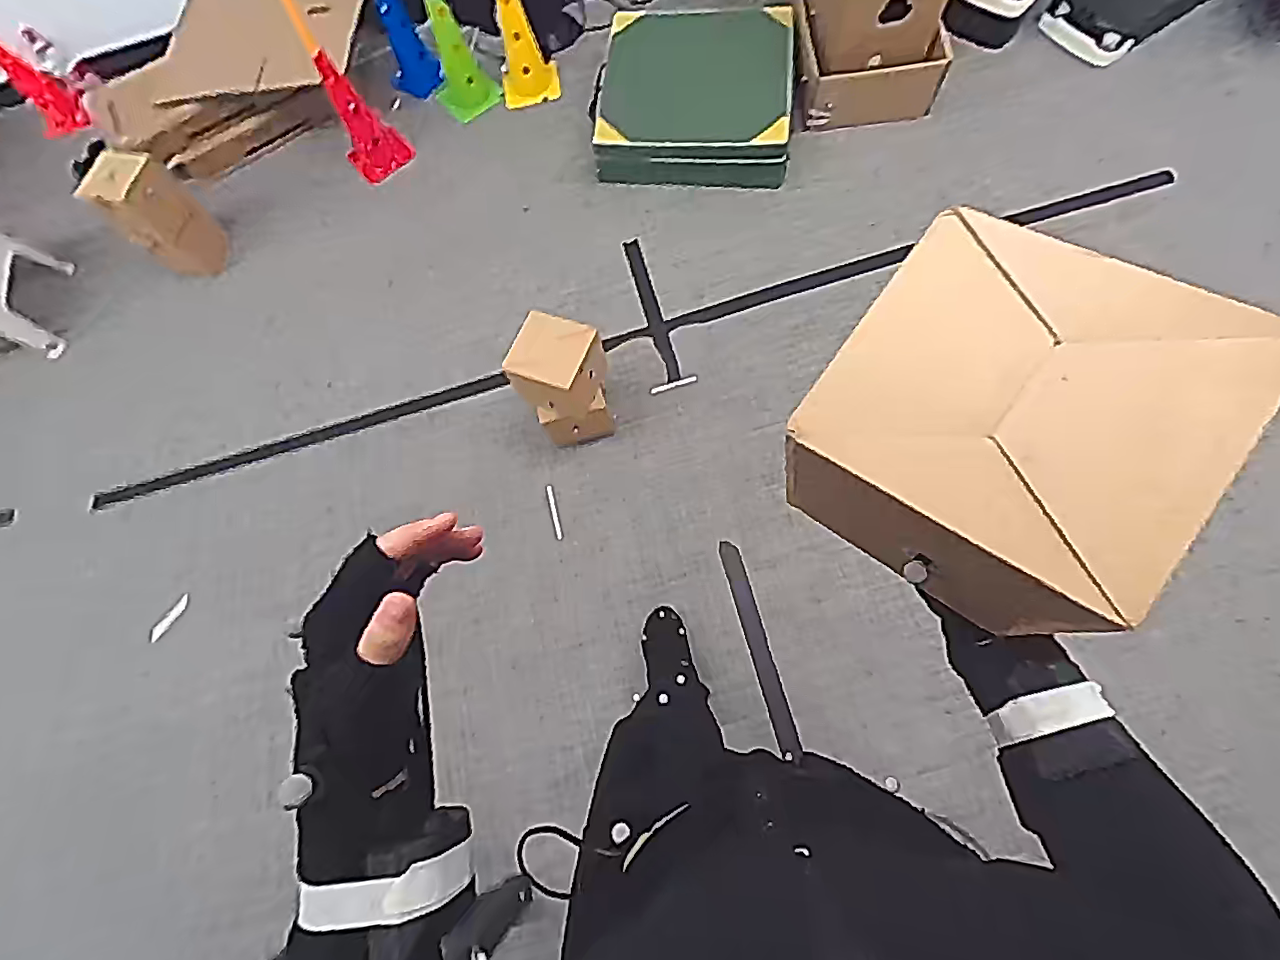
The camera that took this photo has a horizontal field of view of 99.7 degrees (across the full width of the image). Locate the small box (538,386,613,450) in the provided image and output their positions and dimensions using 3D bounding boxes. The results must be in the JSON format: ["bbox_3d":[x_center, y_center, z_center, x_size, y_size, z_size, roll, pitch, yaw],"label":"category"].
[{"bbox_3d":[-0.177,-0.200,1.475,0.179,0.176,0.168,-15,70,2],"label":"small box"}]

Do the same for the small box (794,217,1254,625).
[{"bbox_3d":[0.215,-0.026,0.349,0.179,0.176,0.168,35,85,22],"label":"small box"}]

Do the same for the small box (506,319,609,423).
[{"bbox_3d":[-0.196,-0.264,1.321,0.179,0.176,0.168,19,74,12],"label":"small box"}]
